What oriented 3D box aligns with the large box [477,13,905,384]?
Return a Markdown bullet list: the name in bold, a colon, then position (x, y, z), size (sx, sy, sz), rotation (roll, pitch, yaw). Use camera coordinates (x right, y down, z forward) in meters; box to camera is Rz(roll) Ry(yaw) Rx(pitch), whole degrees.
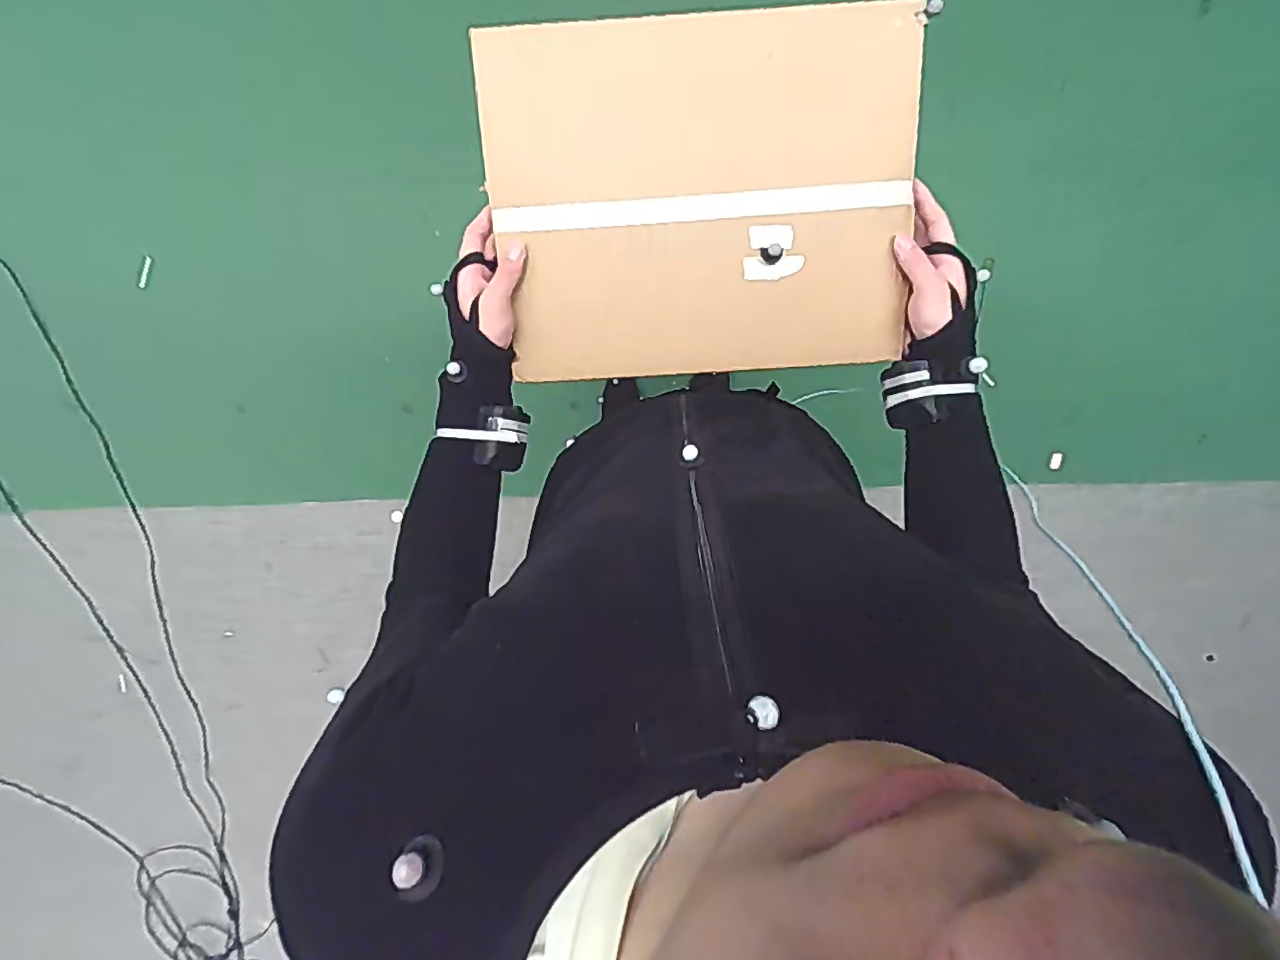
- **large box**: position (0.053, -0.303, 0.678), size (0.408, 0.320, 0.320), rotation (-4, 106, 0)
